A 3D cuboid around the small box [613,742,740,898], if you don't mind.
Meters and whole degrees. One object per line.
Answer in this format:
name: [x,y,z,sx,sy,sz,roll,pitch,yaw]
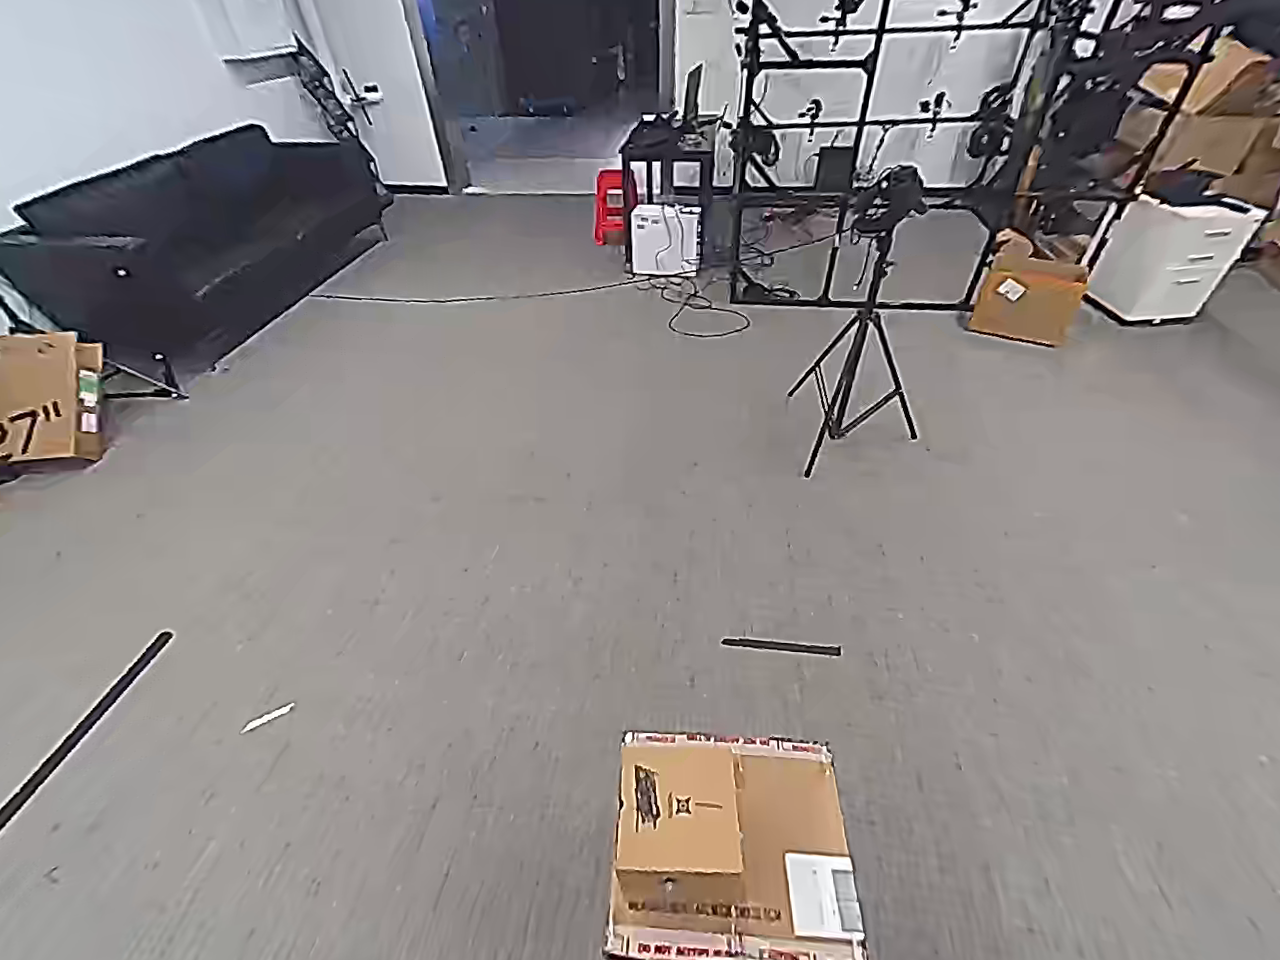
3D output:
small box: [0.057,0.529,0.840,0.179,0.176,0.168,-1,41,3]
